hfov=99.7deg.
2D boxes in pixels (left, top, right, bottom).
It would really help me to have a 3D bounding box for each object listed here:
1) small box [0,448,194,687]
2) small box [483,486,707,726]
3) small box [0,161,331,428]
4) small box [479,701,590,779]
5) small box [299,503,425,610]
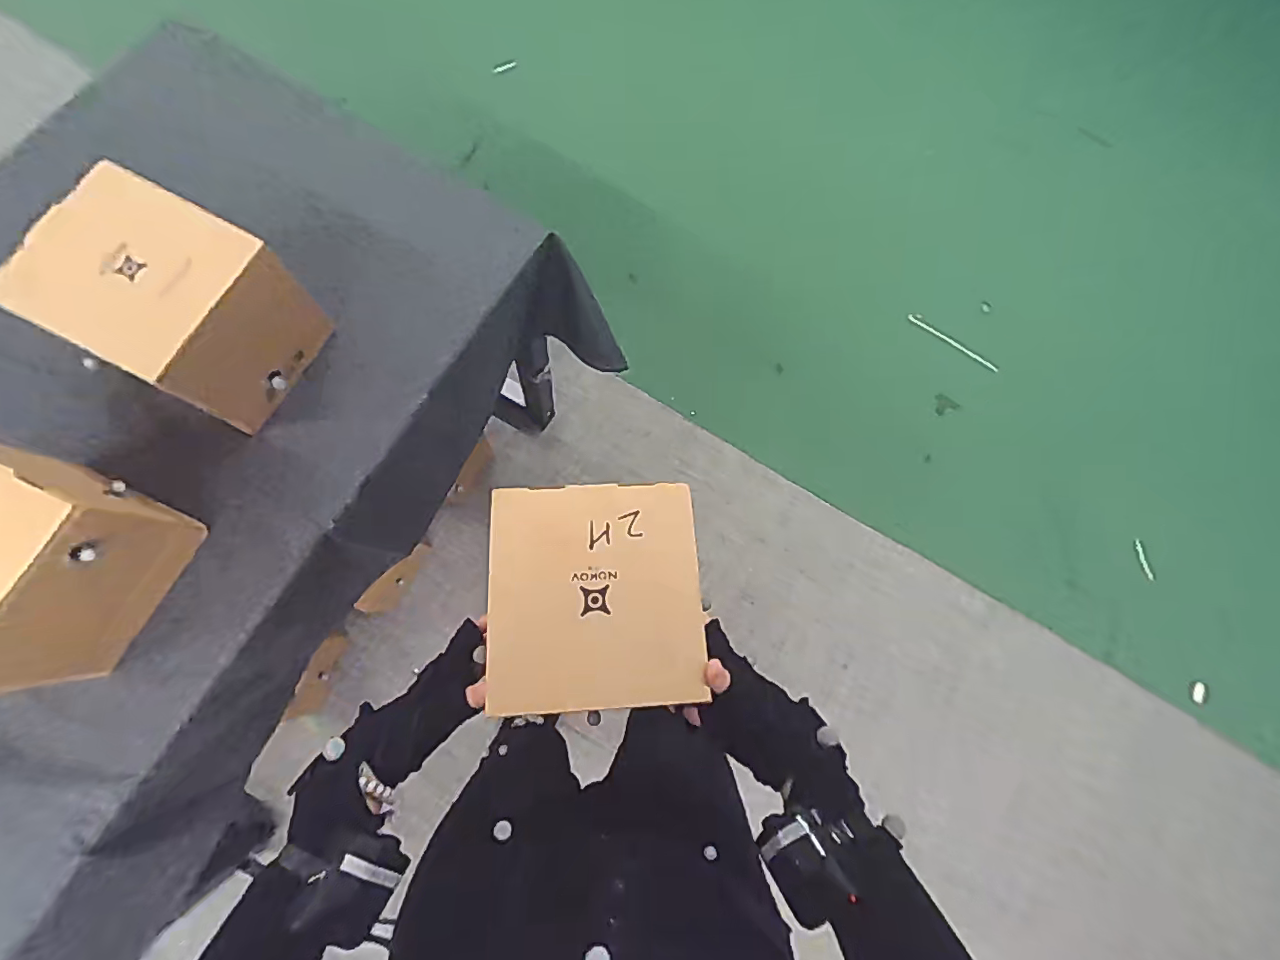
[{"bbox_3d":[-0.580,0.079,0.500,0.168,0.176,0.179,26,76,0],"label":"small box"},{"bbox_3d":[-0.040,0.116,0.491,0.168,0.176,0.179,-2,69,-5],"label":"small box"},{"bbox_3d":[-0.476,-0.175,0.566,0.179,0.176,0.168,28,77,0],"label":"small box"},{"bbox_3d":[-0.237,0.537,1.208,0.168,0.176,0.179,-30,65,-3],"label":"small box"},{"bbox_3d":[-0.611,0.176,1.221,0.168,0.176,0.179,29,77,0],"label":"small box"}]
